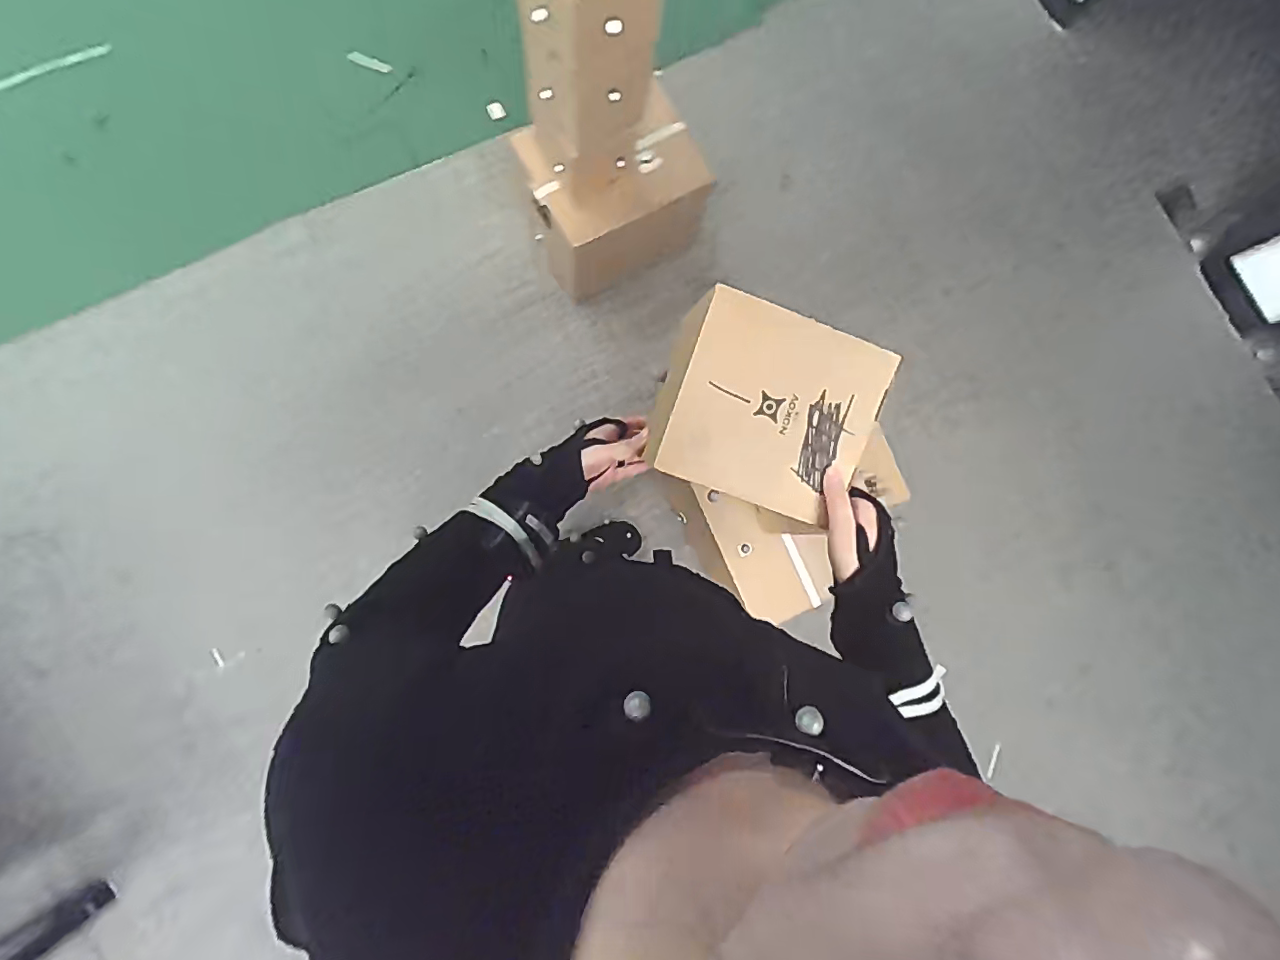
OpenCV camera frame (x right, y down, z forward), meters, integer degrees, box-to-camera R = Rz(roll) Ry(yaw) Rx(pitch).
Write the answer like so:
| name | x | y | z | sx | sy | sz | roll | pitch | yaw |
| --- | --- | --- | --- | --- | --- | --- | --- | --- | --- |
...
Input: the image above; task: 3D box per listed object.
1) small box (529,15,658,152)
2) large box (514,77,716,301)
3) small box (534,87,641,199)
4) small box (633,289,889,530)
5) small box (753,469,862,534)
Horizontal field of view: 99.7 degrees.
| name | x | y | z | sx | sy | sz | roll | pitch | yaw |
| --- | --- | --- | --- | --- | --- | --- | --- | --- | --- |
| small box | -0.089 | -0.775 | 1.032 | 0.179 | 0.176 | 0.168 | -34 | 90 | -10 |
| large box | -0.074 | -0.752 | 1.443 | 0.408 | 0.320 | 0.320 | -29 | 89 | -9 |
| small box | -0.115 | -0.757 | 1.192 | 0.168 | 0.176 | 0.179 | -30 | 88 | -9 |
| small box | 0.103 | -0.067 | 0.544 | 0.179 | 0.176 | 0.168 | 19 | 94 | -7 |
| small box | 0.336 | 0.013 | 1.171 | 0.179 | 0.176 | 0.168 | -22 | 88 | -10 |
